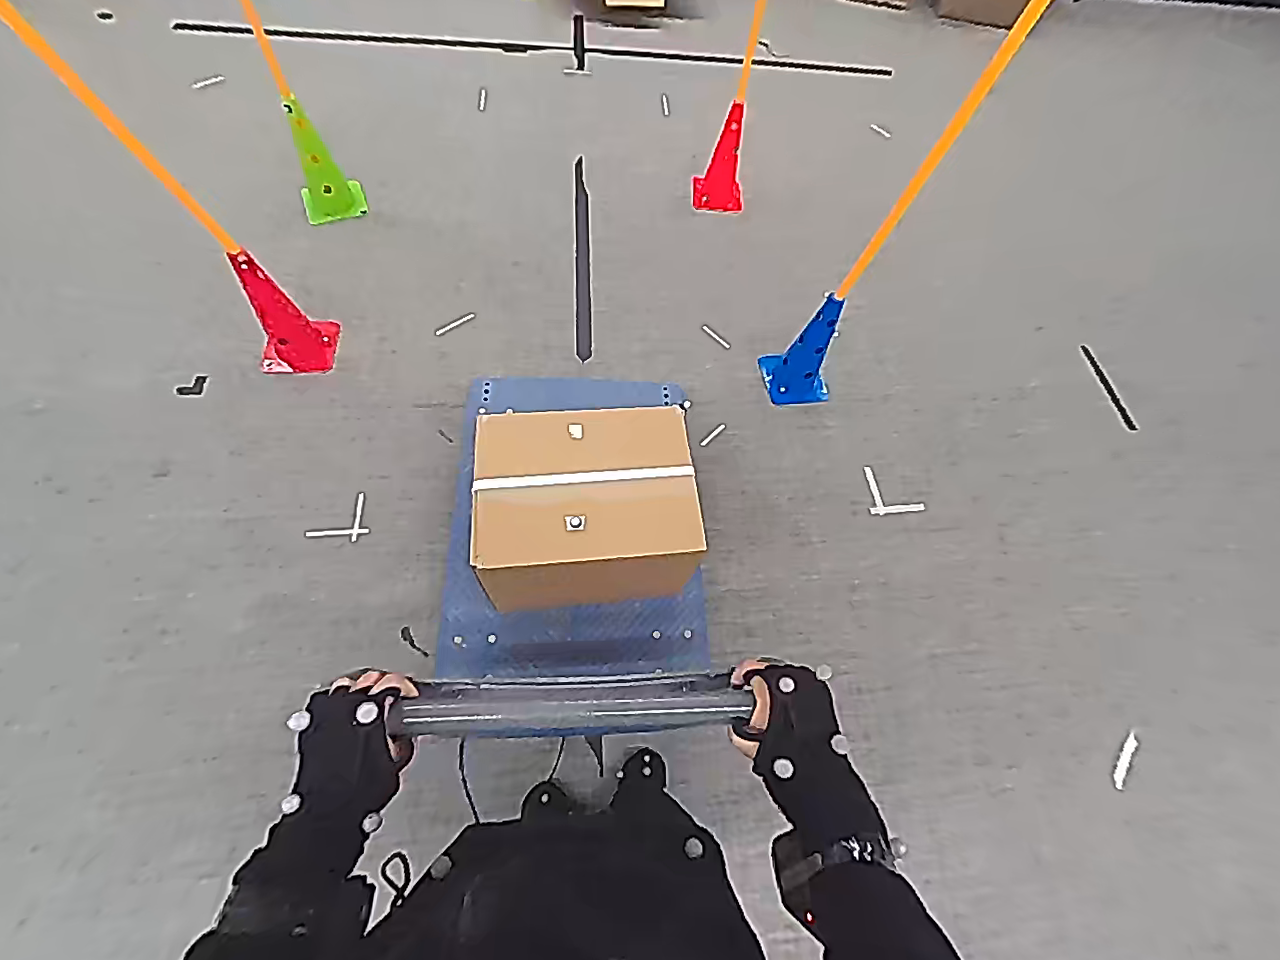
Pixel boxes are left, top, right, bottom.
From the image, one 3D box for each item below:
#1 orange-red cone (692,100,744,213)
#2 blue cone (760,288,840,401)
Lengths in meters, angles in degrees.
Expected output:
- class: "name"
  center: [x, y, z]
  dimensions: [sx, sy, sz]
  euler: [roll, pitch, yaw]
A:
- class: "orange-red cone"
  center: [0.328, -1.225, 2.023]
  dimensions: [0.199, 0.360, 0.198]
  euler: [5, 63, -5]
- class: "blue cone"
  center: [0.521, -0.418, 1.645]
  dimensions: [0.193, 0.380, 0.192]
  euler: [-5, 62, -9]
